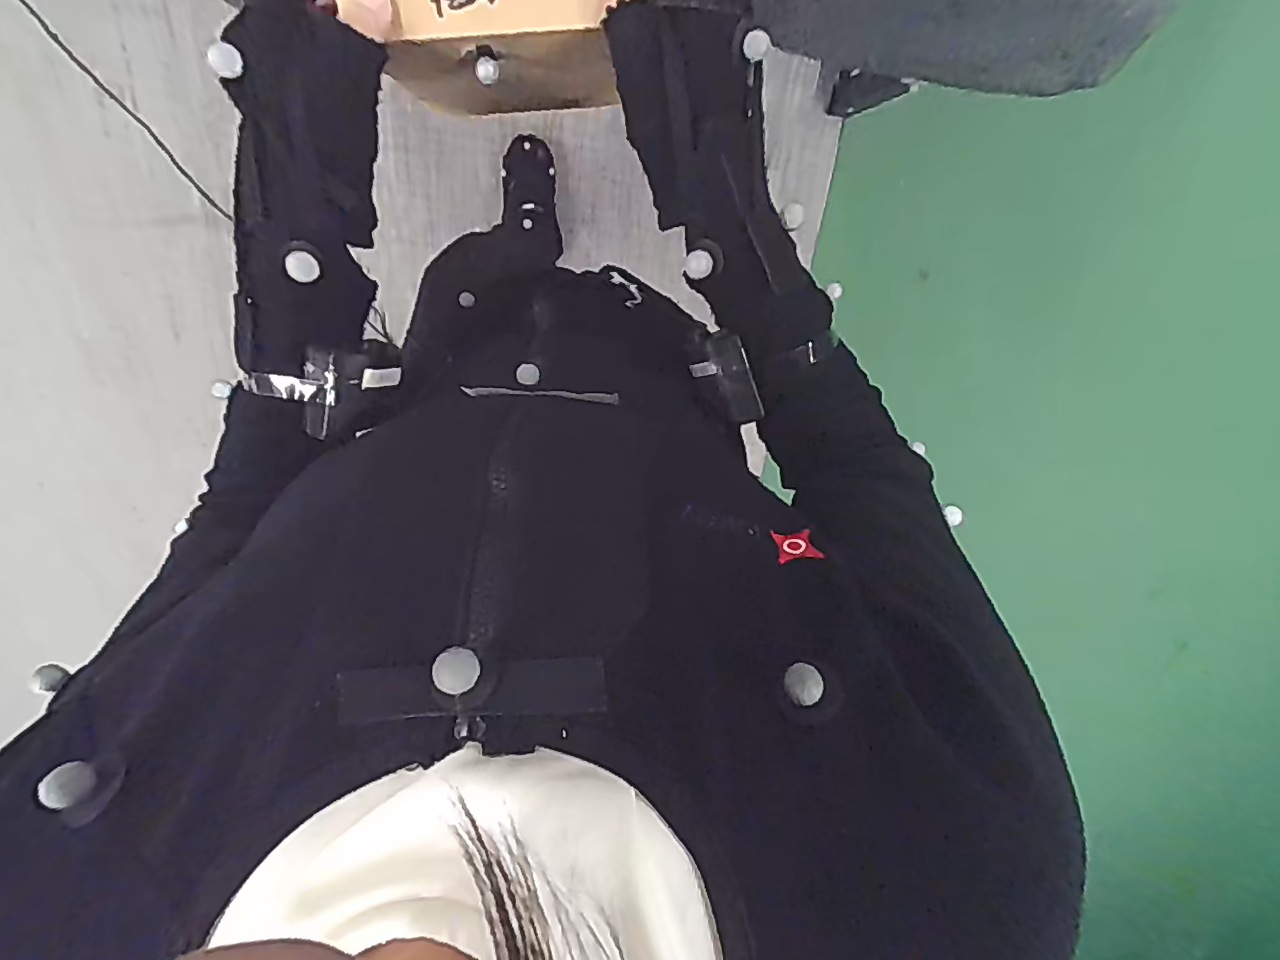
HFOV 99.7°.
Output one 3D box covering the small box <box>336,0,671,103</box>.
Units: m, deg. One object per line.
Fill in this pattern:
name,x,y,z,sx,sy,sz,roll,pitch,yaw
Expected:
small box,-0.075,-0.339,0.305,0.168,0.176,0.179,-5,115,-2
